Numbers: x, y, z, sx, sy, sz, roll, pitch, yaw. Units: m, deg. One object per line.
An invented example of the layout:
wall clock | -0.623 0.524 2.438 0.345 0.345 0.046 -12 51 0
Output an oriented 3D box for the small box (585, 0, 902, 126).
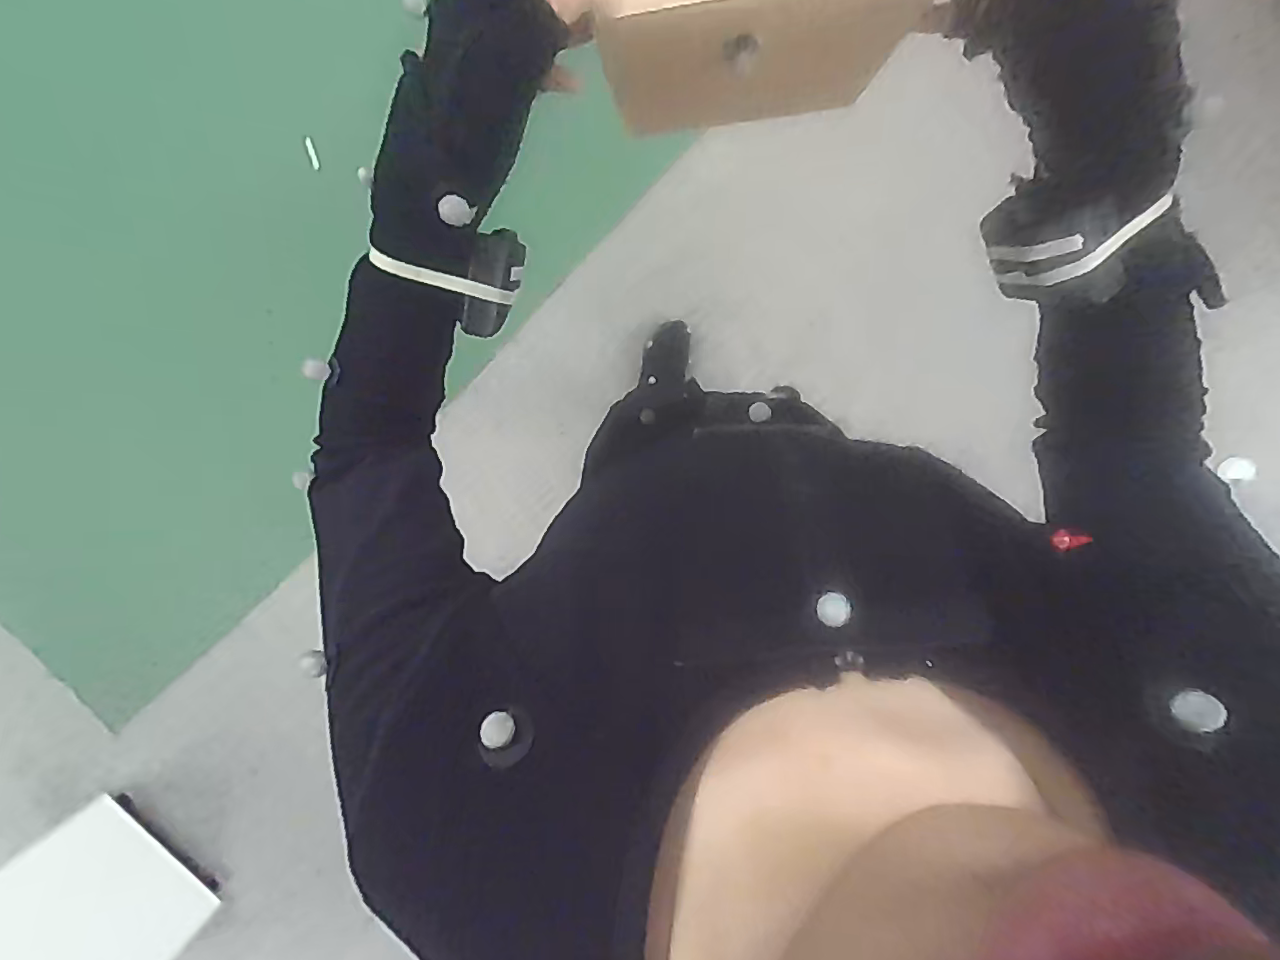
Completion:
small box | 0.059 -0.333 0.316 0.179 0.176 0.168 -4 106 5
